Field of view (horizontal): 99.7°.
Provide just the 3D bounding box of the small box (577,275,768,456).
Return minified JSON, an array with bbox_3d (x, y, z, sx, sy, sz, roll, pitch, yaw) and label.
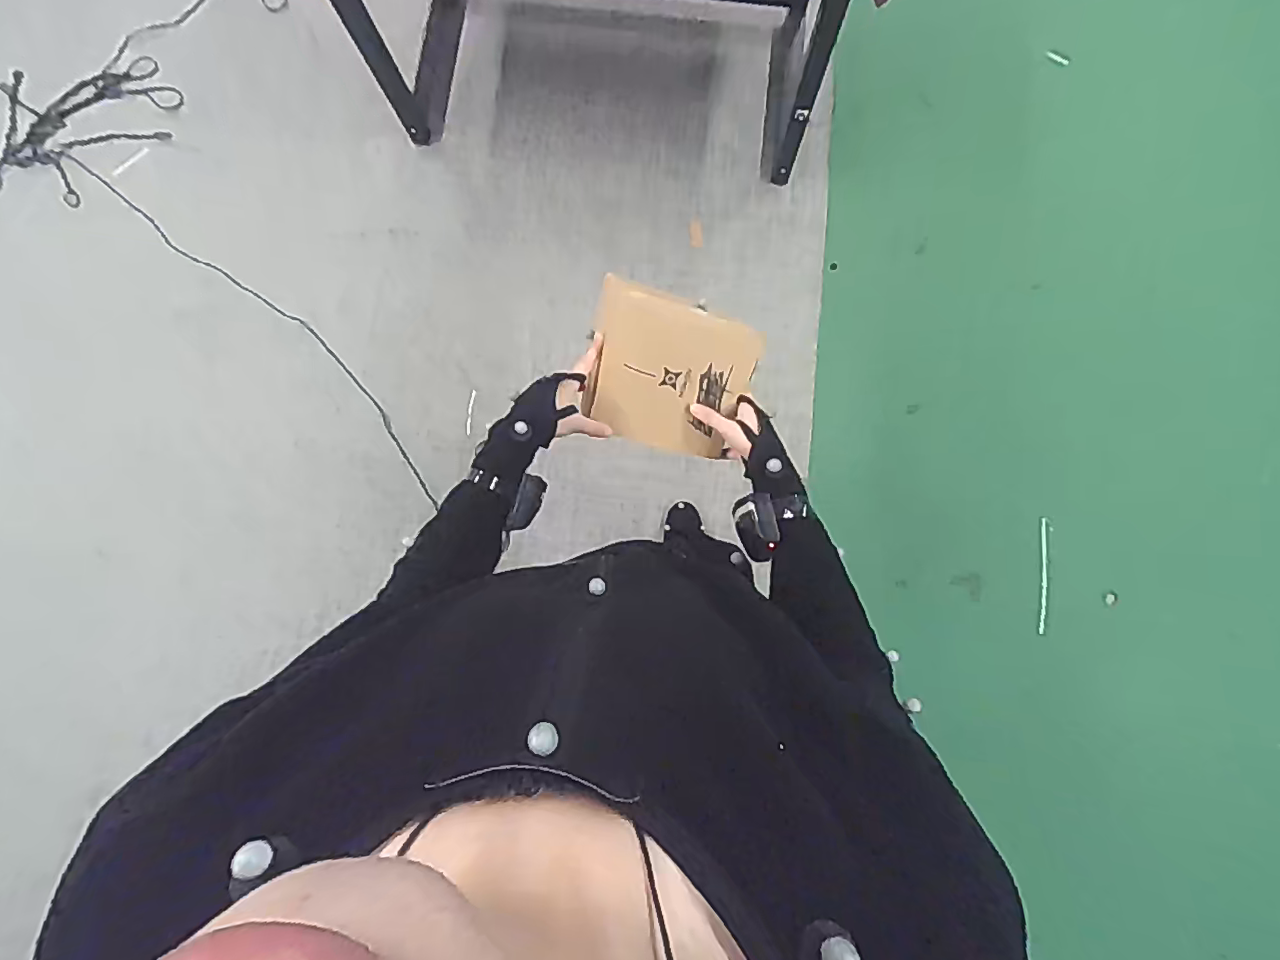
[{"bbox_3d":[0.027,-0.151,0.689,0.179,0.176,0.168,12,113,-17],"label":"small box"}]
